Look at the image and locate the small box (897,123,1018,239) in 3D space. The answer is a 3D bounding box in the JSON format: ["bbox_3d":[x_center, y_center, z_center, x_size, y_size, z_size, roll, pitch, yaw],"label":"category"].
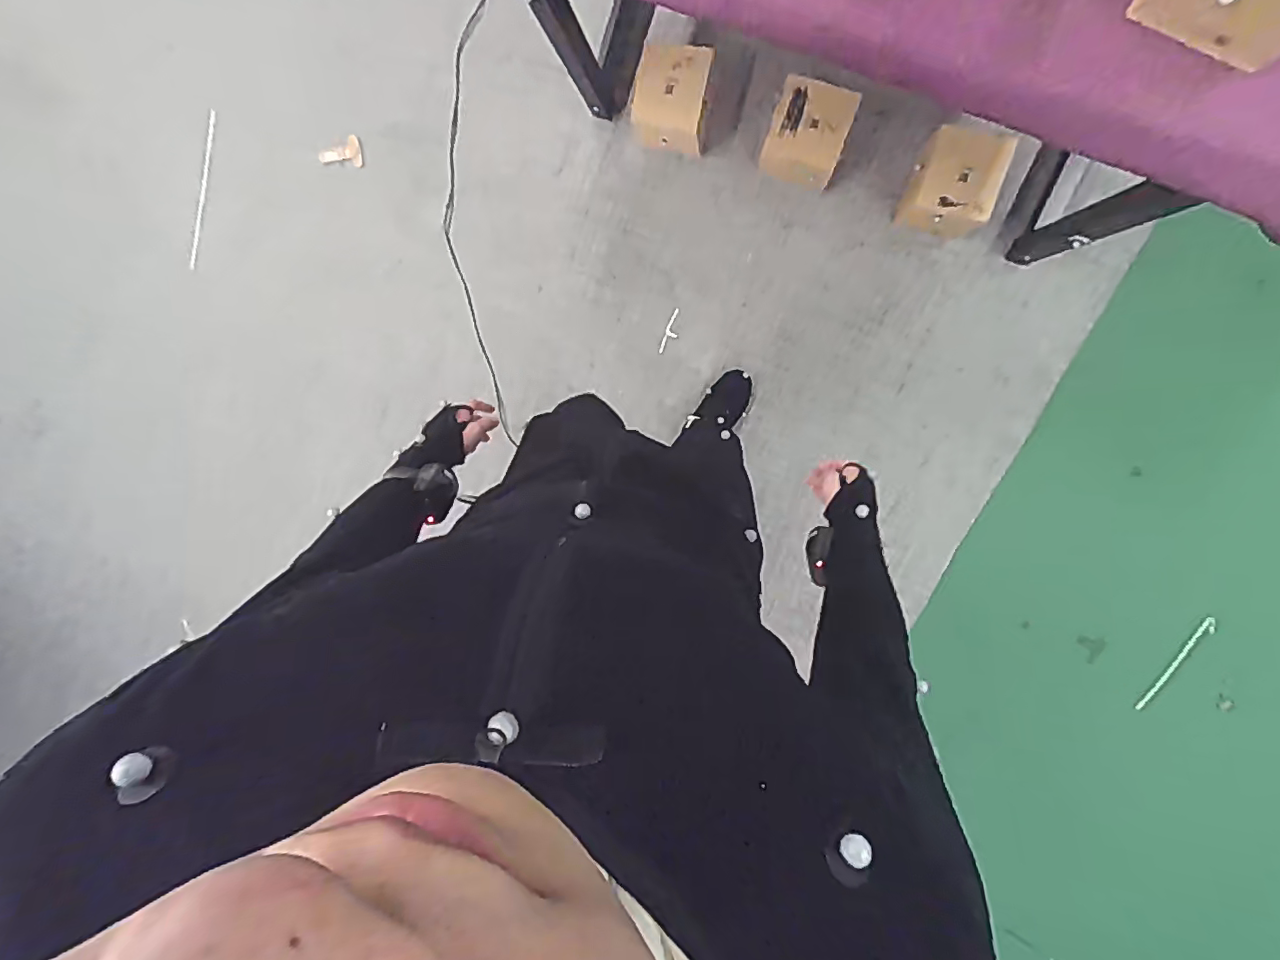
[{"bbox_3d":[0.729,-0.691,1.266,0.168,0.176,0.179,16,104,6],"label":"small box"}]

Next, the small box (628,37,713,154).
[{"bbox_3d":[0.082,-0.930,1.324,0.168,0.176,0.179,14,104,6],"label":"small box"}]

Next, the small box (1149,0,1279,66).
[{"bbox_3d":[0.684,-0.576,0.547,0.168,0.176,0.179,29,104,3],"label":"small box"}]
